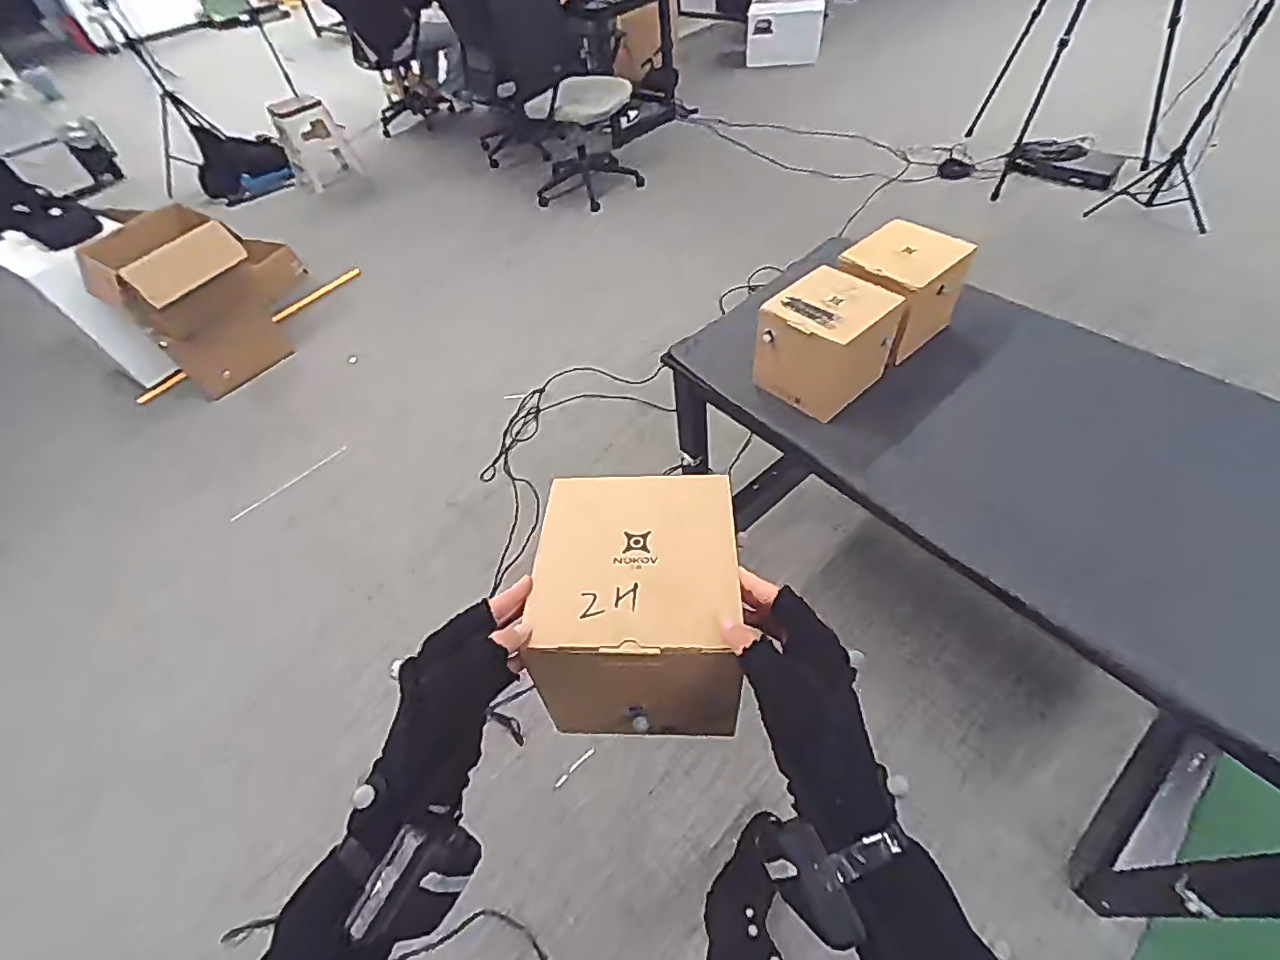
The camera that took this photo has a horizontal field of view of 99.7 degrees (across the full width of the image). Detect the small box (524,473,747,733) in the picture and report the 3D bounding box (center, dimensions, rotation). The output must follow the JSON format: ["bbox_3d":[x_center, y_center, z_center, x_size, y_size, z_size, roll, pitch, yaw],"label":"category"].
[{"bbox_3d":[0.006,0.112,0.503,0.168,0.176,0.179,-1,46,5],"label":"small box"}]

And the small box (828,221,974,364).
[{"bbox_3d":[0.482,-0.355,1.029,0.179,0.176,0.168,-36,56,-19],"label":"small box"}]
